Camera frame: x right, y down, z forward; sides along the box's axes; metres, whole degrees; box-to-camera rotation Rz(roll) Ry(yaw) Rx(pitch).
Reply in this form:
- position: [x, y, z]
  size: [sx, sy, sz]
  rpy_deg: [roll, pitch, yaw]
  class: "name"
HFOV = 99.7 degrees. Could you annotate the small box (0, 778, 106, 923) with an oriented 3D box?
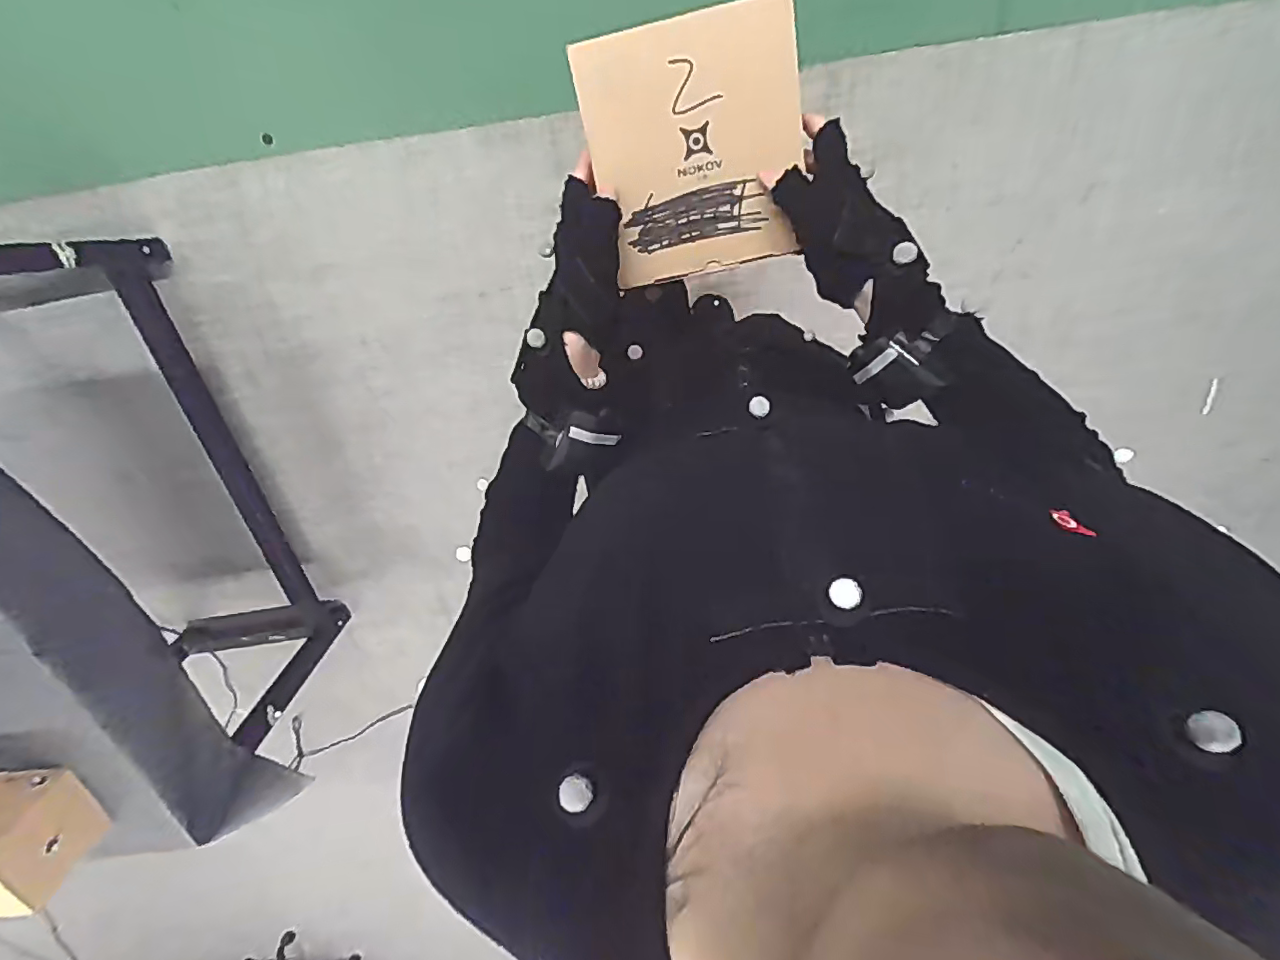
- position: [-1.165, 0.673, 0.992]
  size: [0.168, 0.176, 0.179]
  rpy_deg: [-5, 116, 2]
  class: "small box"
